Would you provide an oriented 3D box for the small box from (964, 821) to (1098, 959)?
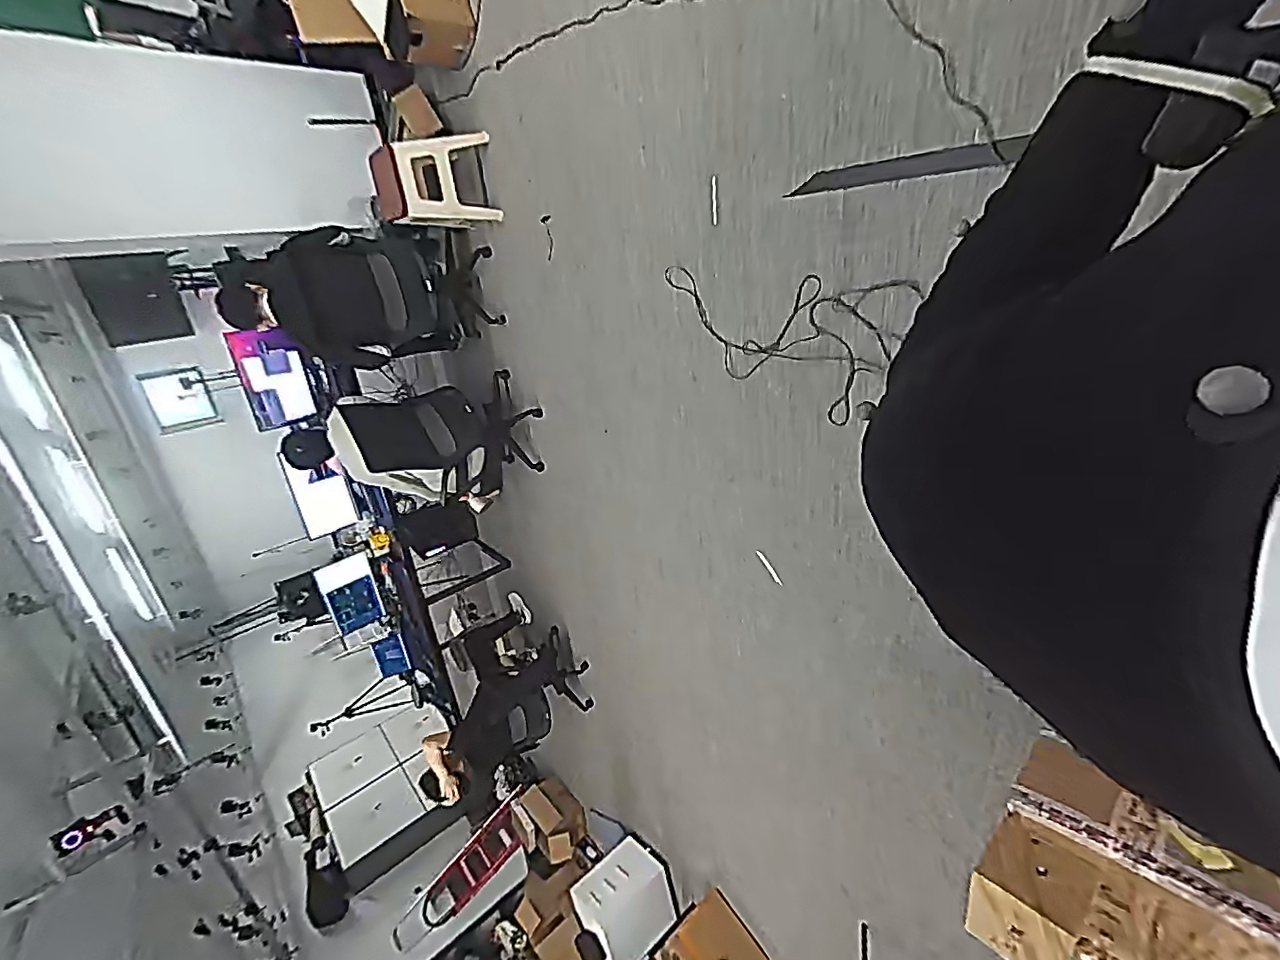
[{"bbox_3d":[0.767,0.825,1.061,0.168,0.176,0.179,17,120,49],"label":"small box"}]
